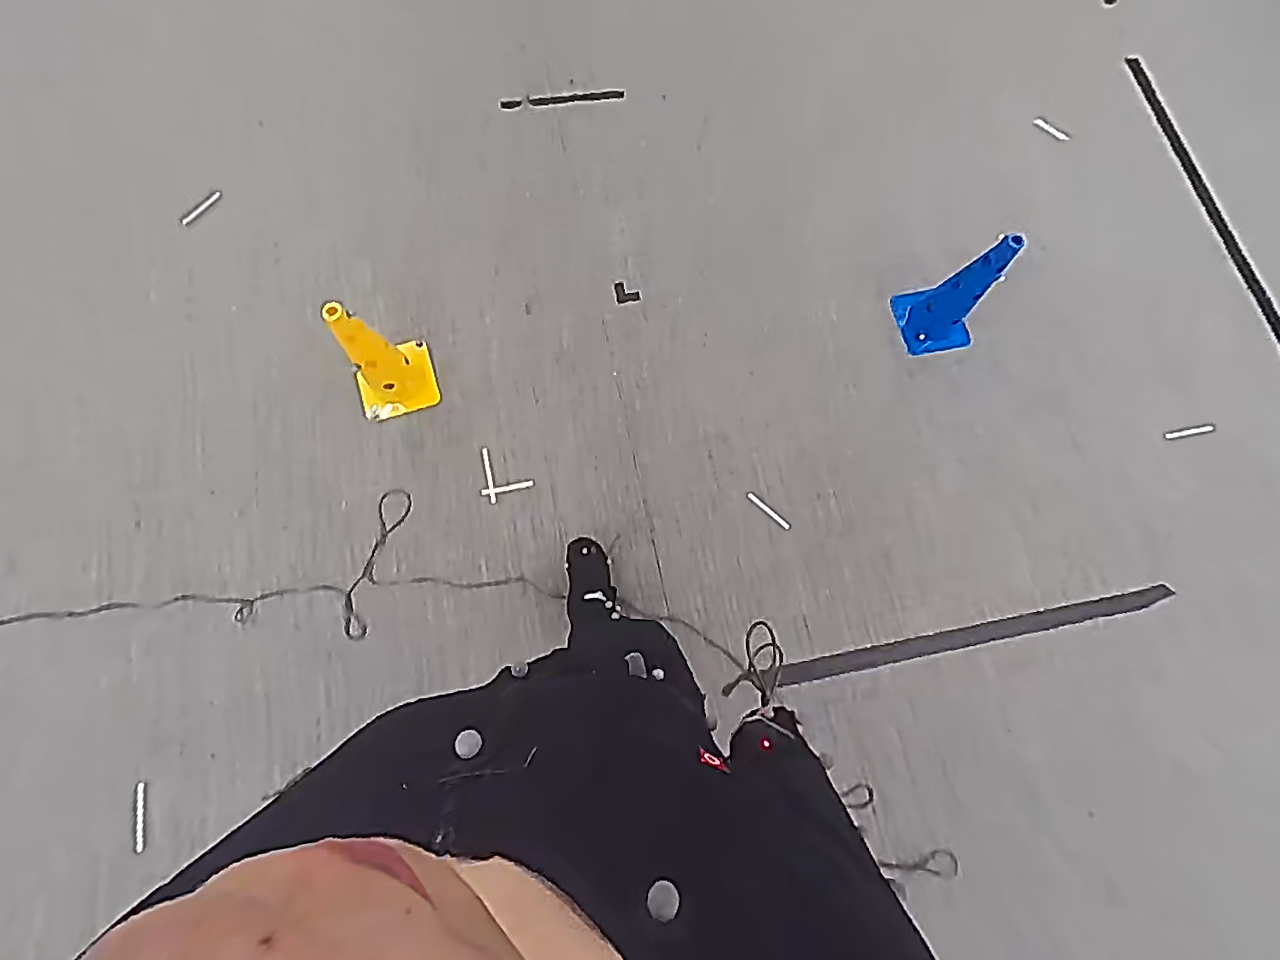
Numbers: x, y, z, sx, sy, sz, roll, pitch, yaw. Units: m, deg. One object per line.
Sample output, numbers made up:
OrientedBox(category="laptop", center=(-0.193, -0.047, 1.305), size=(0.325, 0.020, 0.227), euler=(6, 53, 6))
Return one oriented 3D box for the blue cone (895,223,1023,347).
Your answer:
OrientedBox(category="blue cone", center=(0.867, -0.523, 1.427), size=(0.193, 0.380, 0.192), euler=(-10, 76, -5))
